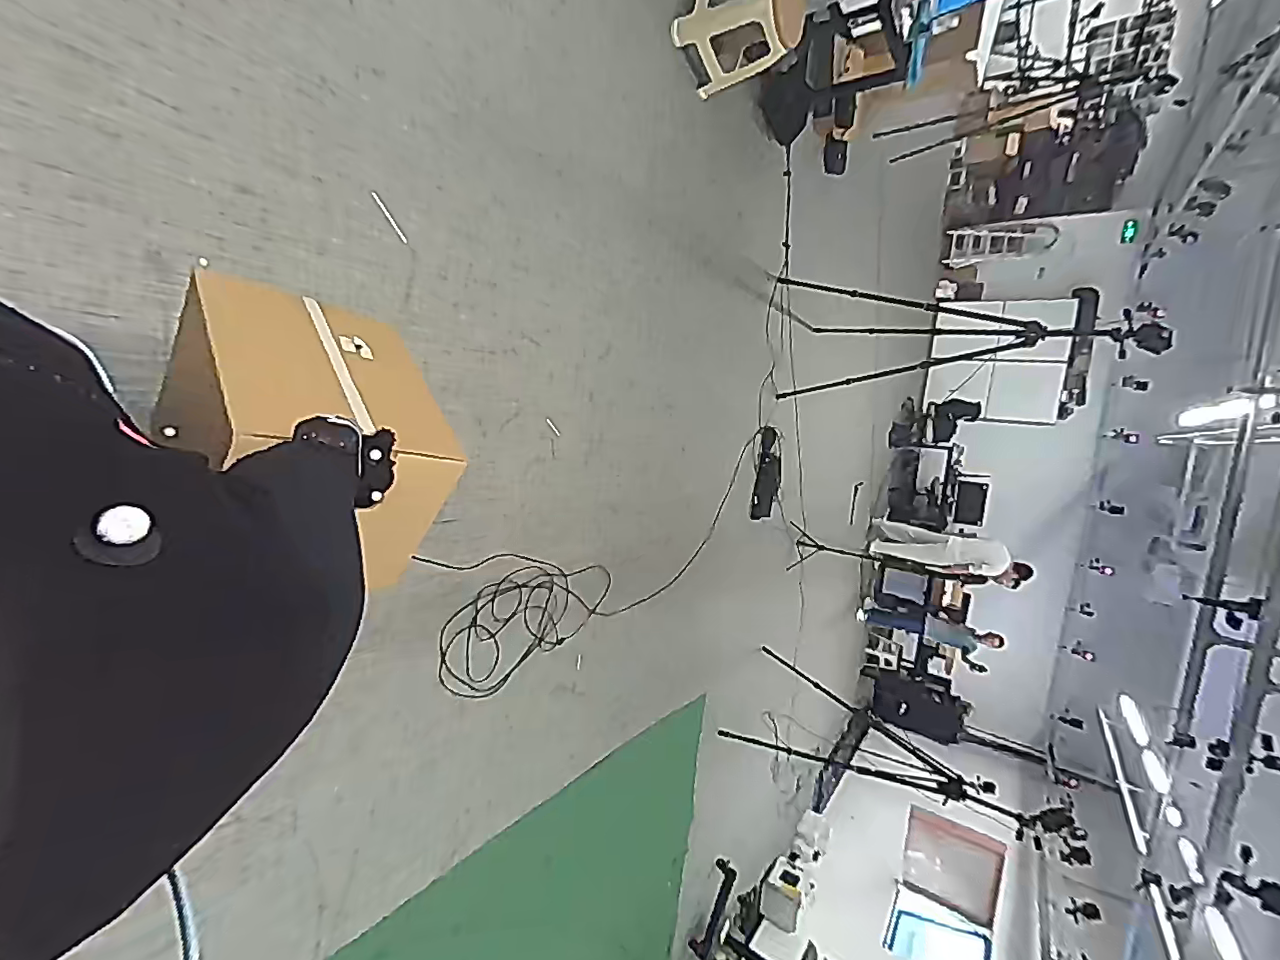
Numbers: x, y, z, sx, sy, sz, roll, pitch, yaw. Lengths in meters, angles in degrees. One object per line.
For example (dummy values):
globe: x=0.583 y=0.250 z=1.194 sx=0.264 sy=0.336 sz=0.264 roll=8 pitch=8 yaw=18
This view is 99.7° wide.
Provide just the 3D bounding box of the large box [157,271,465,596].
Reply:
large box: x=-0.563 y=-0.068 z=0.905 sx=0.320 sy=0.408 sz=0.320 roll=8 pitch=126 yaw=-51
